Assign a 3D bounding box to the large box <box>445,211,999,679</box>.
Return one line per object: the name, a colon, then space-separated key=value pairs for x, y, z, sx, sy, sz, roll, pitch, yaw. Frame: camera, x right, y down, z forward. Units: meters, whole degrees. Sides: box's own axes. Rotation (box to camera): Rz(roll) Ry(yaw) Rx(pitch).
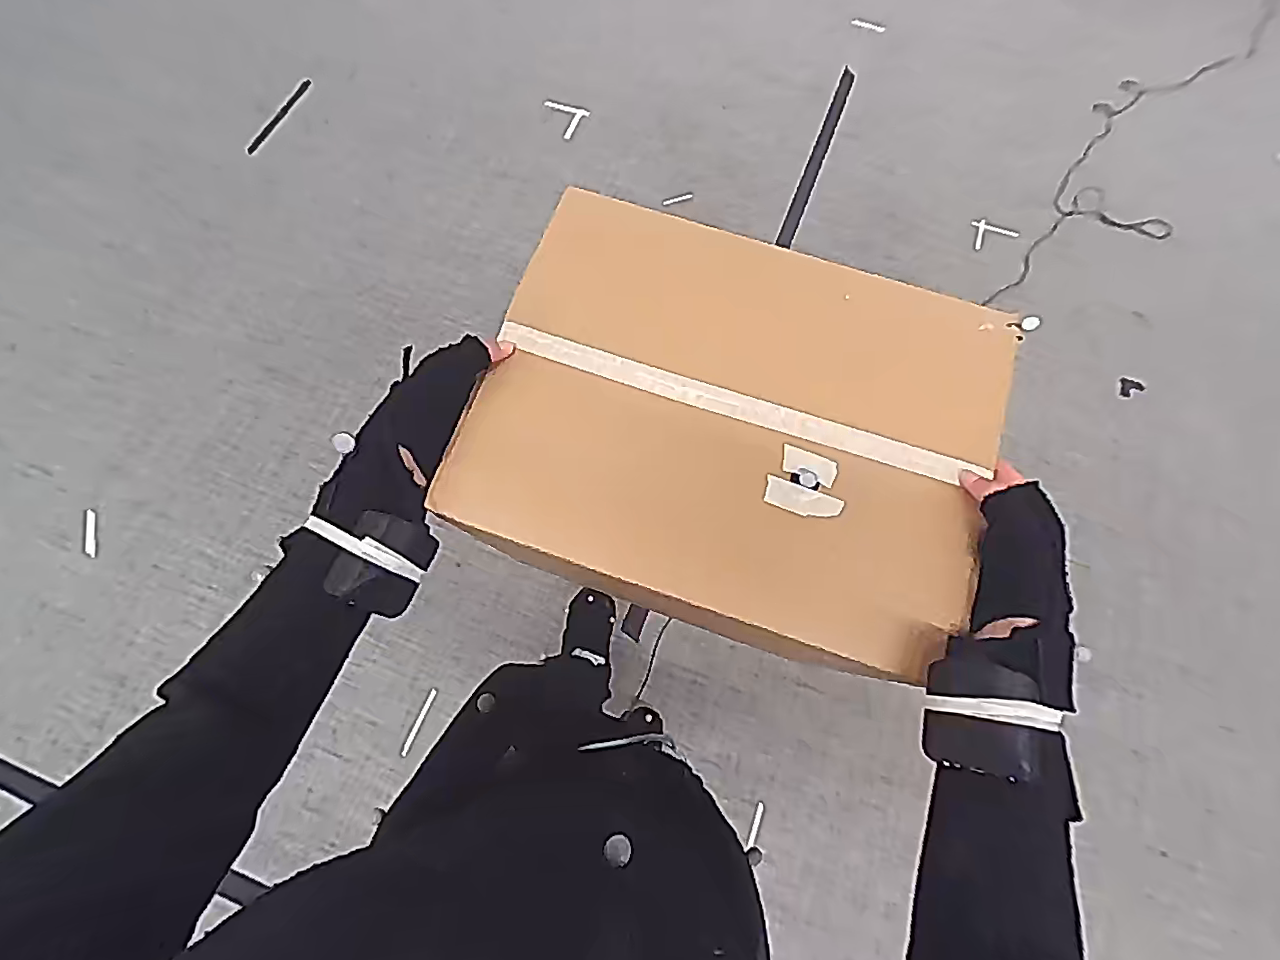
large box: x=0.075 y=-0.012 z=0.587 sx=0.408 sy=0.320 sz=0.320 roll=18 pitch=76 yaw=4
